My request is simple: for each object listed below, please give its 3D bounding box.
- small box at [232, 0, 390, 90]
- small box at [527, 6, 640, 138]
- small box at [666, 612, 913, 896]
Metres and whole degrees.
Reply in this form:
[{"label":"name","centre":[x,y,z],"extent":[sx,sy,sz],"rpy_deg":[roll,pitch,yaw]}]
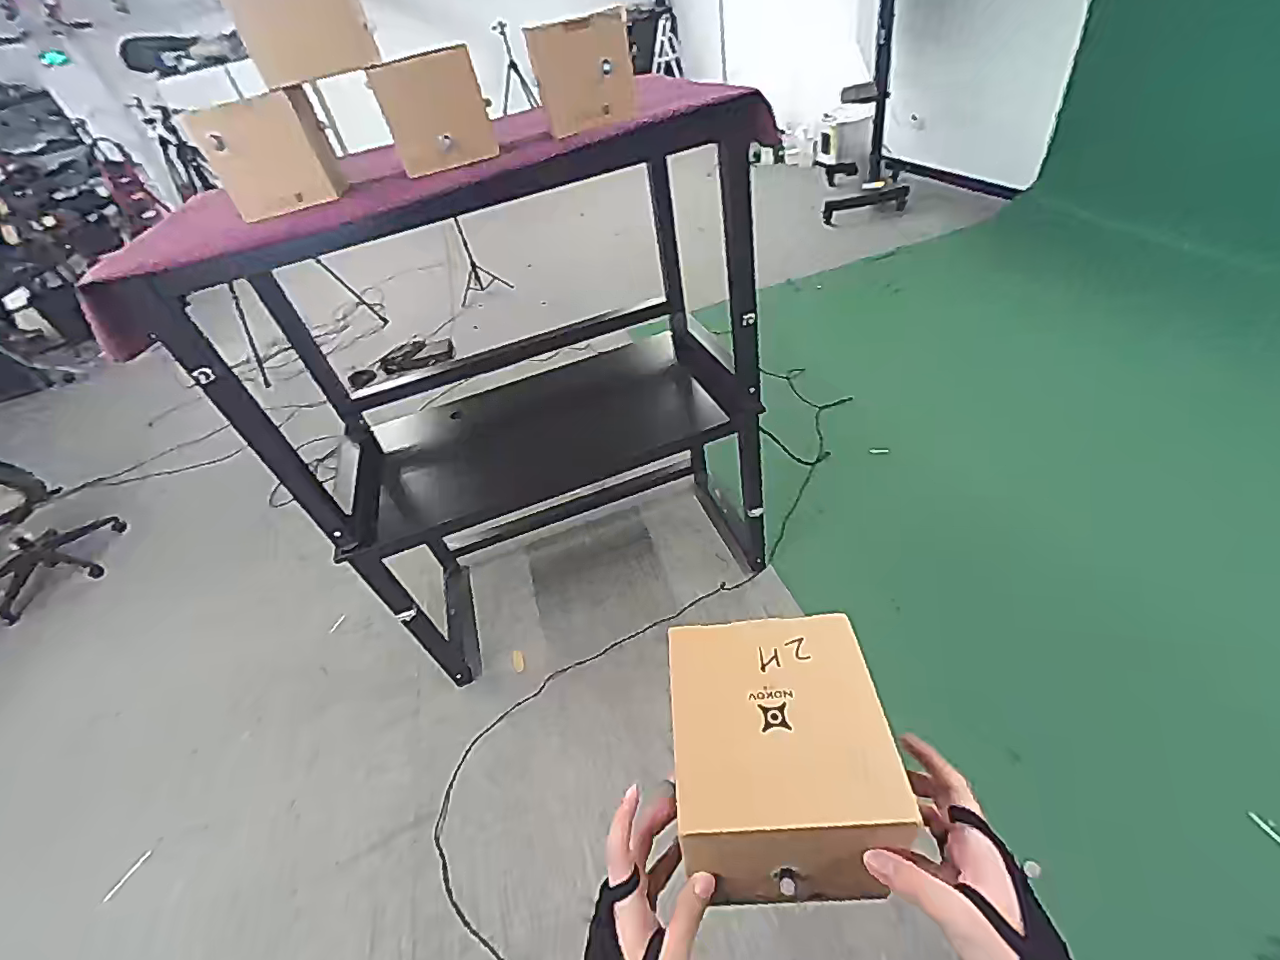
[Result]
[{"label":"small box","centre":[-0.538,-0.753,0.877],"extent":[0.179,0.176,0.168],"rpy_deg":[-17,41,-5]},{"label":"small box","centre":[-0.106,-0.771,1.029],"extent":[0.168,0.176,0.179],"rpy_deg":[-16,41,-3]},{"label":"small box","centre":[0.115,0.243,0.477],"extent":[0.168,0.176,0.179],"rpy_deg":[-6,37,5]}]
